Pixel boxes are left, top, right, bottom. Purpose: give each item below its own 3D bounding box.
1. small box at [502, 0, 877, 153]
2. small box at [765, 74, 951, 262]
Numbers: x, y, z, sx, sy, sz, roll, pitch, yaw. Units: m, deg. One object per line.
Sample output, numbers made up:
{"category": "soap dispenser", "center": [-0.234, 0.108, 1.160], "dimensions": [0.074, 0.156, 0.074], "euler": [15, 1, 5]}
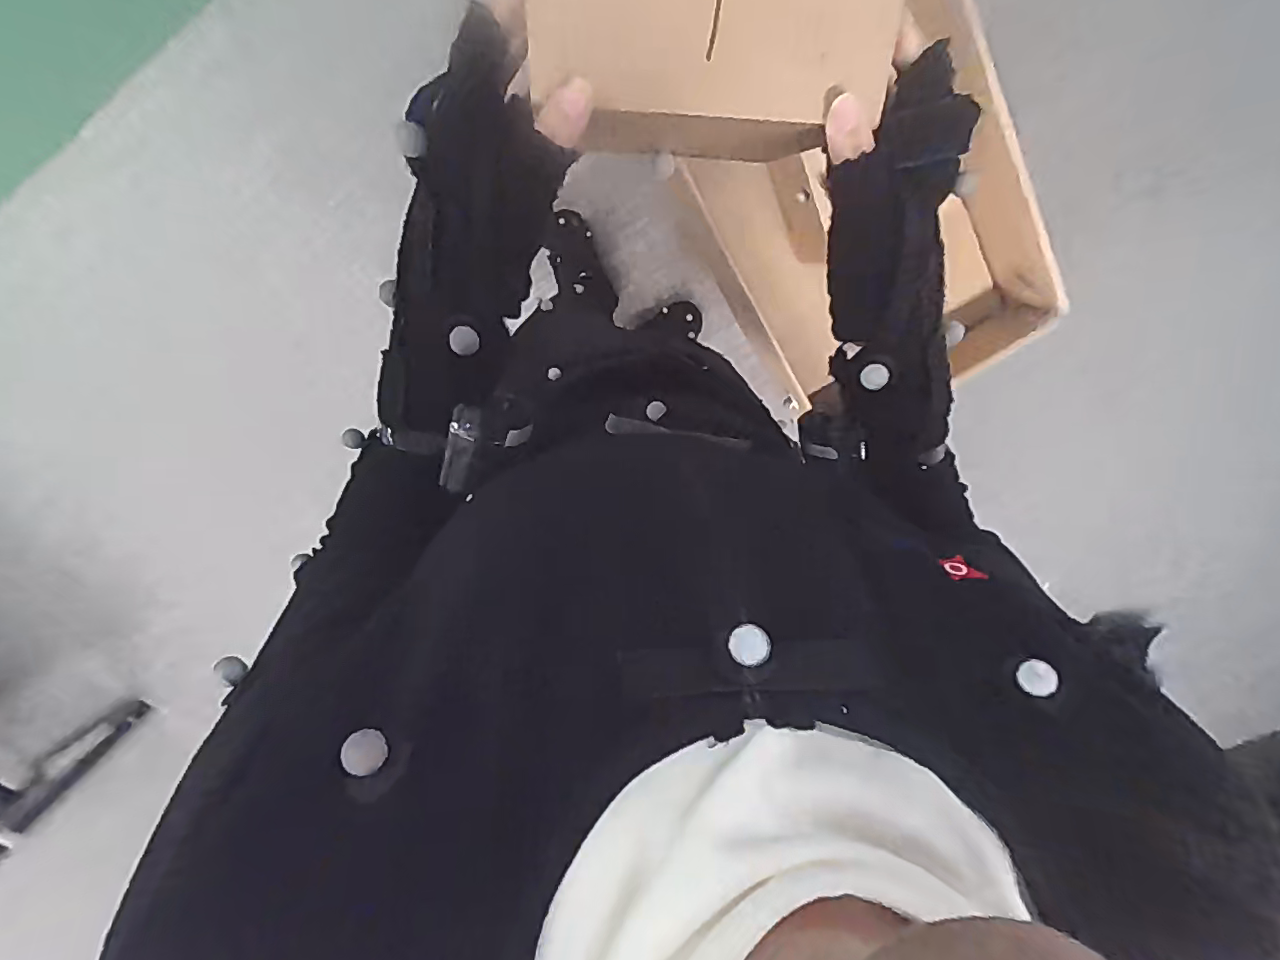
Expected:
{"category": "small box", "center": [0.017, -0.285, 0.283], "dimensions": [0.168, 0.176, 0.179], "euler": [-1, 116, -5]}
{"category": "small box", "center": [0.303, -0.432, 0.777], "dimensions": [0.179, 0.176, 0.168], "euler": [-23, 111, 7]}
